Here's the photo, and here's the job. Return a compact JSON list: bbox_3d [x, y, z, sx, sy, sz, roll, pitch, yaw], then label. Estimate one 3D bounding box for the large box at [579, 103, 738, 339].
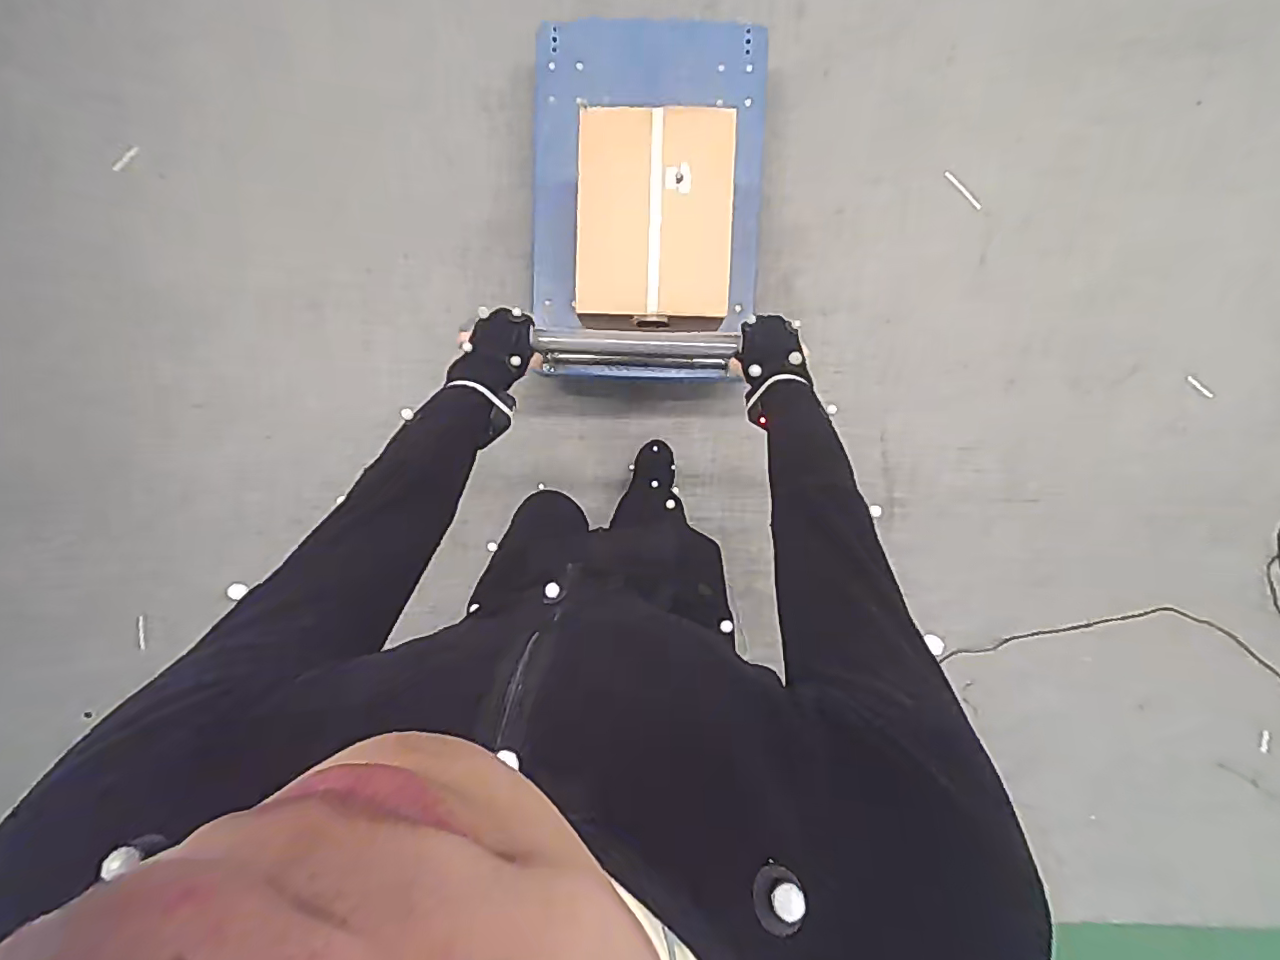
[{"bbox_3d":[0.040,-0.546,1.217,0.320,0.320,0.408,2,94,1],"label":"large box"}]
